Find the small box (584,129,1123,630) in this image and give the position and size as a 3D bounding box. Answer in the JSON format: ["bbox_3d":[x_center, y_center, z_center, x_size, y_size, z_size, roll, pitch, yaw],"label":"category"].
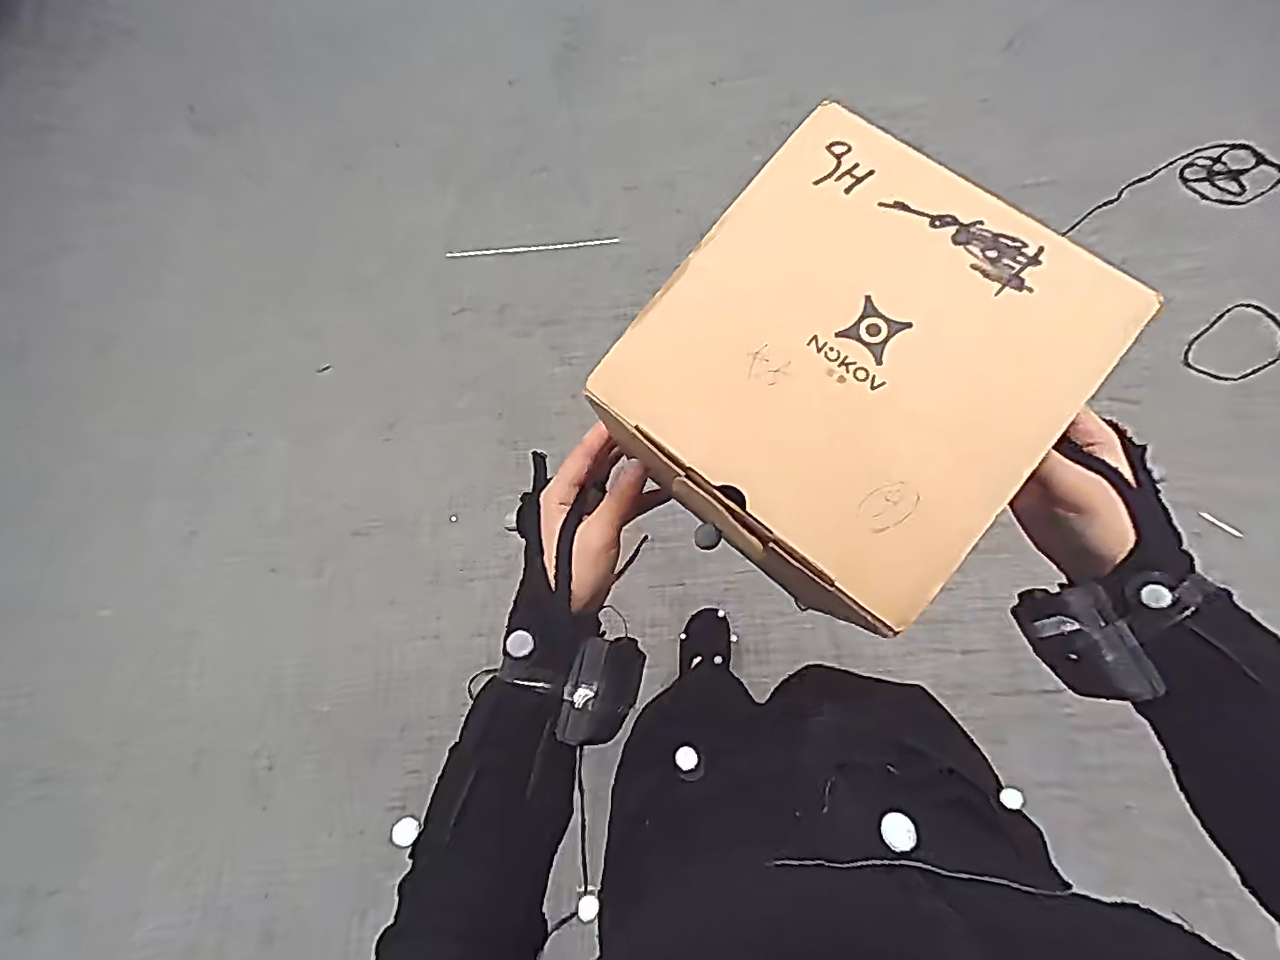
[{"bbox_3d":[0.098,-0.039,0.316,0.168,0.176,0.179,40,87,11],"label":"small box"}]
